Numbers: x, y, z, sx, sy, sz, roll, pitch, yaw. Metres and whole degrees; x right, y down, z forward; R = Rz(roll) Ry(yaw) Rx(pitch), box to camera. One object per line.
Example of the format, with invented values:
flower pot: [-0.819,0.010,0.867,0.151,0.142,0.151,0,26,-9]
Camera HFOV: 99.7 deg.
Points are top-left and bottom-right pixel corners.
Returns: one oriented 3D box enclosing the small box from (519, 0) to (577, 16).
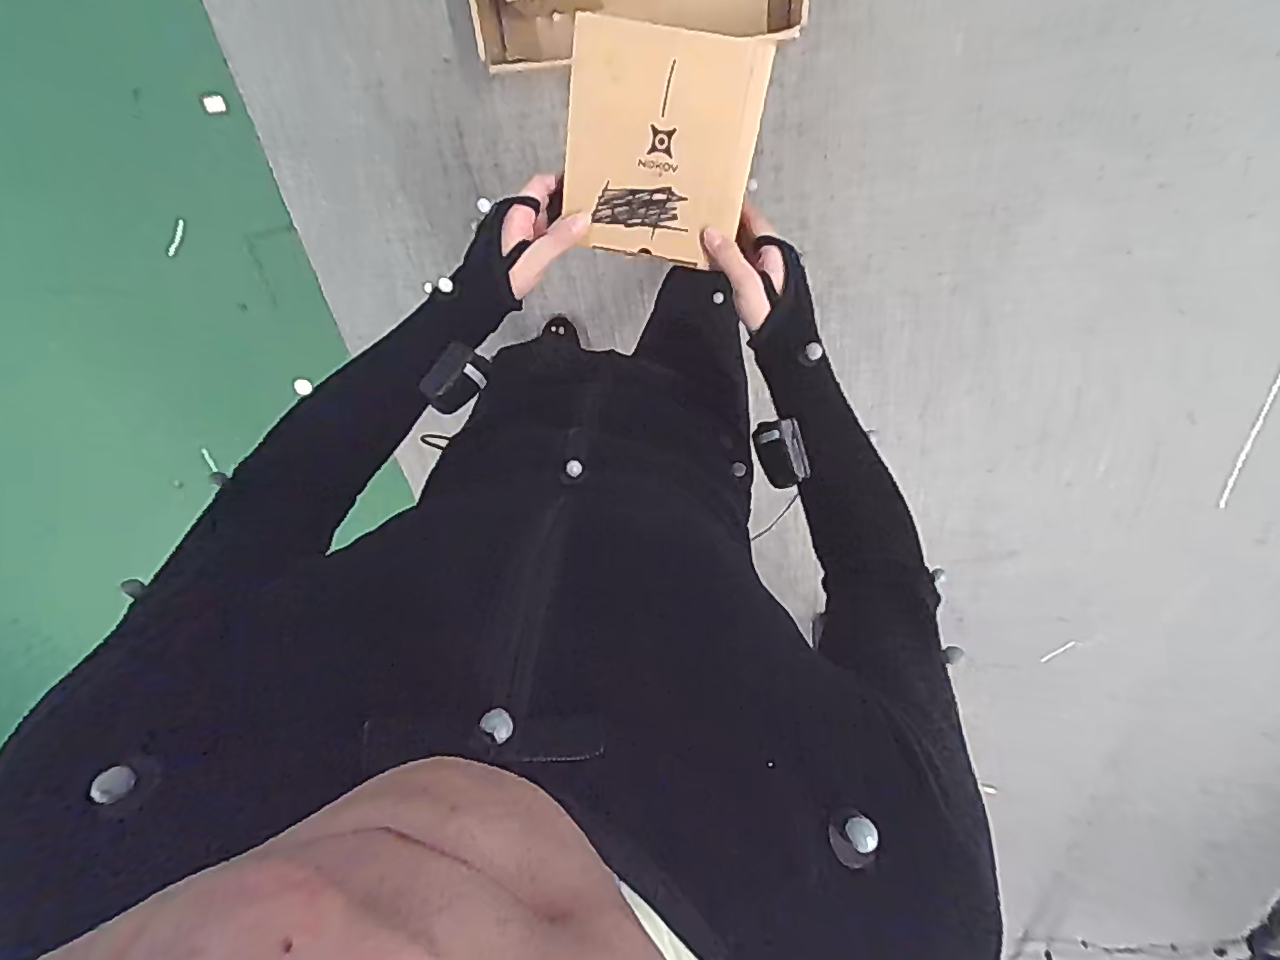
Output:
small box: [-0.160,-0.980,0.979,0.168,0.176,0.179,-2,121,6]

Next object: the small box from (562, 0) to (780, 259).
small box: [0.027,-0.333,0.533,0.168,0.176,0.179,9,119,1]
